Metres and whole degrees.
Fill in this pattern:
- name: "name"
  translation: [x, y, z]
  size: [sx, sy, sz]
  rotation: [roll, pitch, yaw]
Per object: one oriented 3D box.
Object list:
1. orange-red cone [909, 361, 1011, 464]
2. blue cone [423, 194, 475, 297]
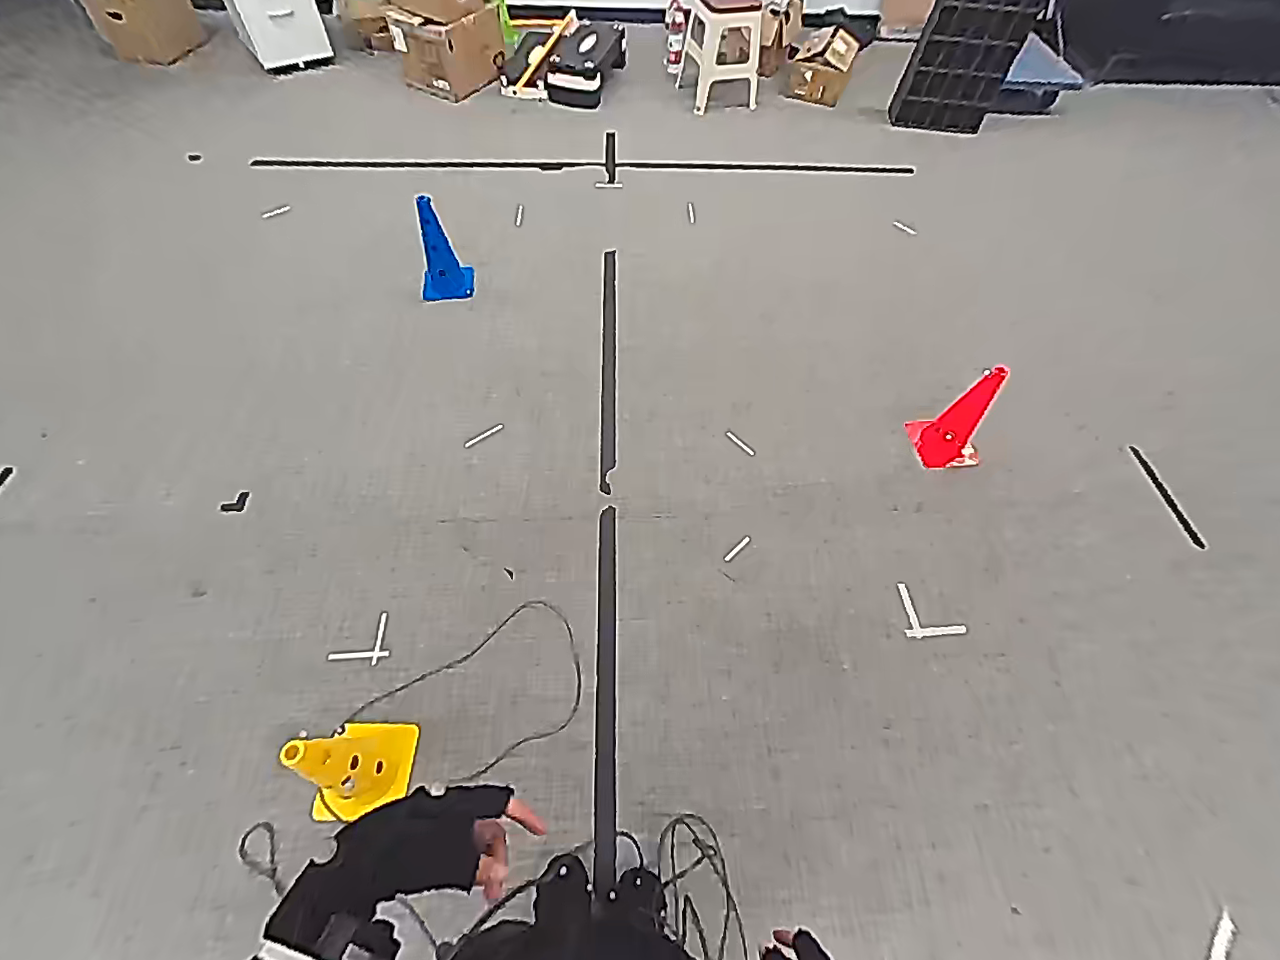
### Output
- name: "orange-red cone"
  translation: [1.039, -0.234, 1.698]
  size: [0.198, 0.360, 0.199]
  rotation: [-4, 56, -5]
- name: "blue cone"
  translation: [-0.765, -0.900, 2.065]
  size: [0.192, 0.380, 0.193]
  rotation: [-5, 57, -5]
